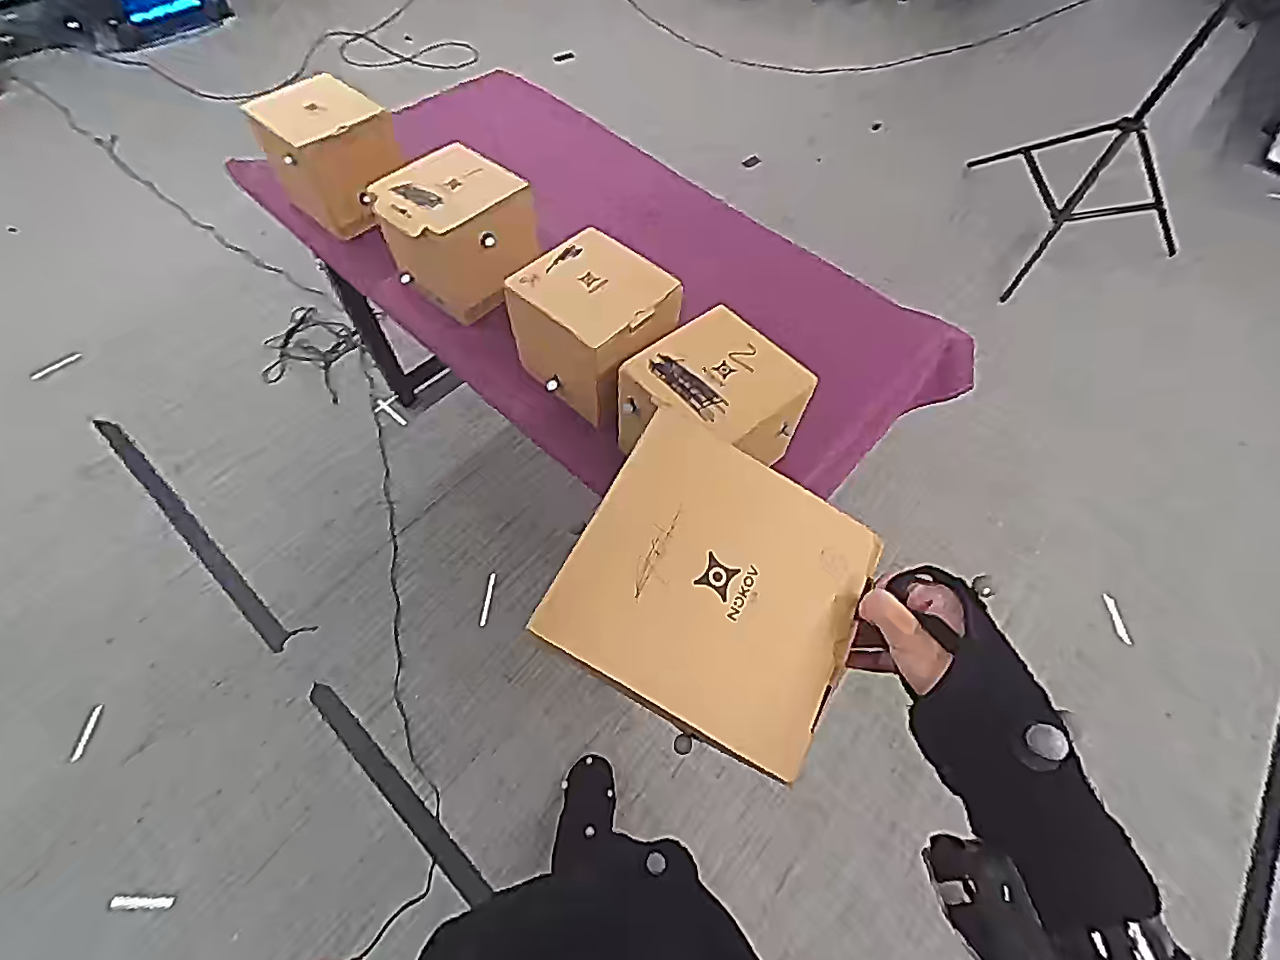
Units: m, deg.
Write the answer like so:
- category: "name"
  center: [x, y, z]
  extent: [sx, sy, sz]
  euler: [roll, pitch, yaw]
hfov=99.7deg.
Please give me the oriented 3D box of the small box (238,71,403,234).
- category: "small box"
  center: [-0.542, -0.571, 0.952]
  extent: [0.179, 0.176, 0.168]
  euler: [37, 65, 16]

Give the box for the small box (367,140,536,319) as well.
- category: "small box"
  center: [-0.285, -0.393, 0.862]
  extent: [0.168, 0.176, 0.179]
  euler: [36, 64, 16]

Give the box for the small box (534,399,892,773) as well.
- category: "small box"
  center: [0.038, 0.077, 0.399]
  extent: [0.179, 0.176, 0.168]
  euler: [31, 69, -1]
